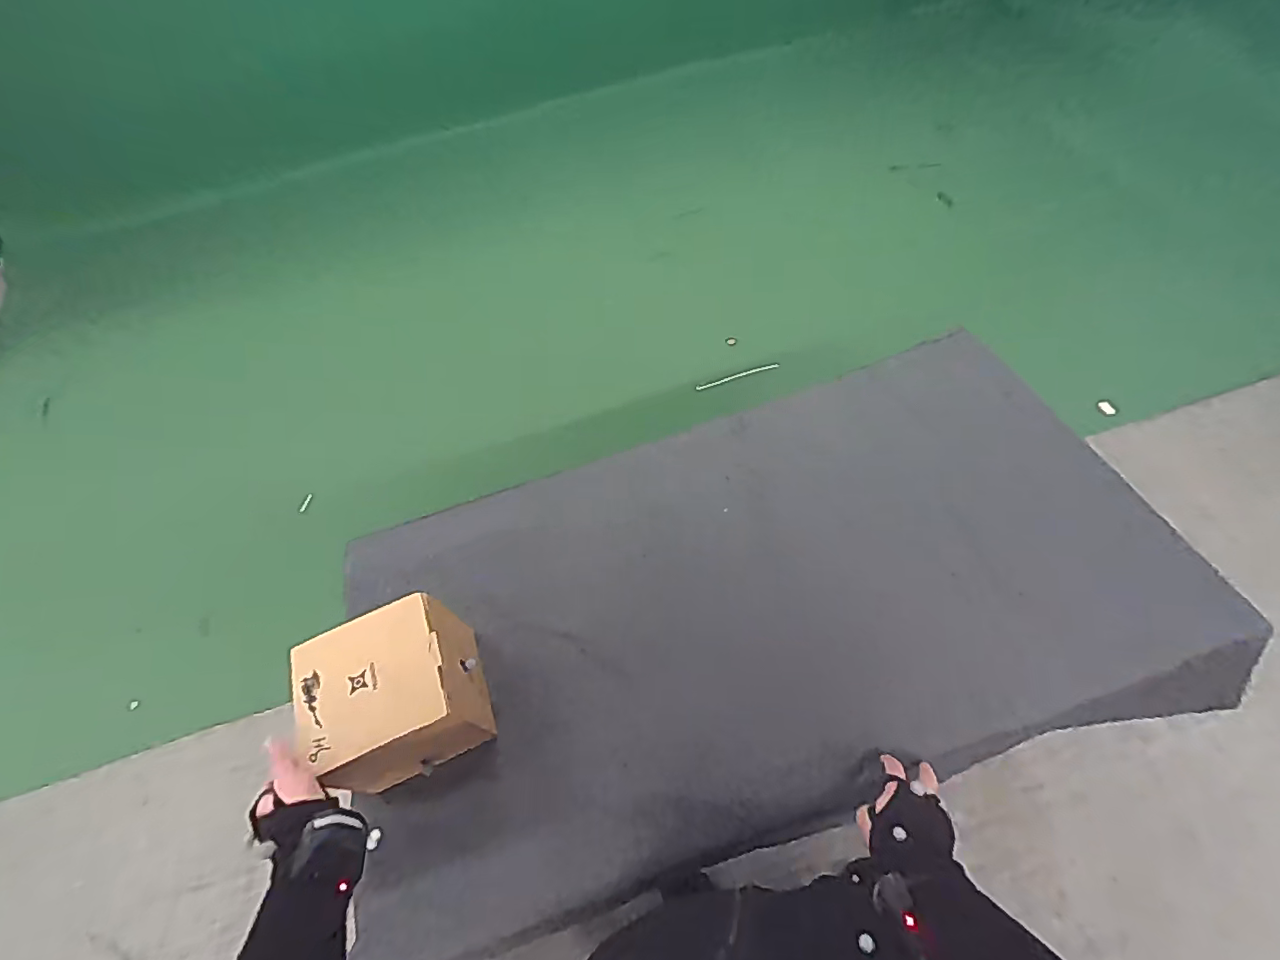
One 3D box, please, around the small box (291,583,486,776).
[{"bbox_3d":[-0.317,0.265,0.709,0.179,0.176,0.168,-22,58,-8],"label":"small box"}]
